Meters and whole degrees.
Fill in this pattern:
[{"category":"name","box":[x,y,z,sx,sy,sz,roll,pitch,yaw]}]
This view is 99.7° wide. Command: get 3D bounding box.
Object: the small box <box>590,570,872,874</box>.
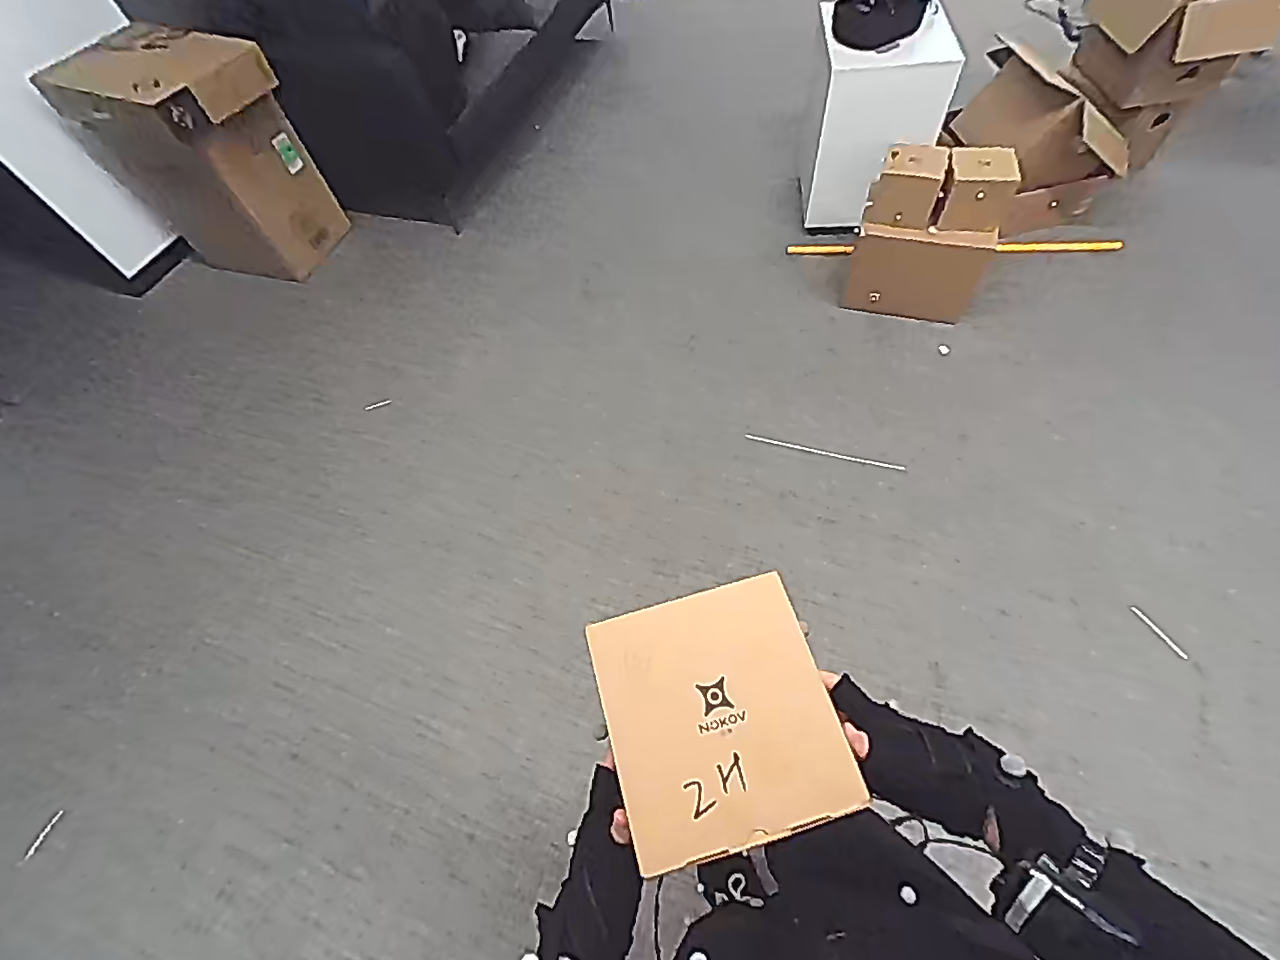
[{"category":"small box","box":[0.062,0.202,0.466,0.168,0.176,0.179,-15,63,-4]}]
